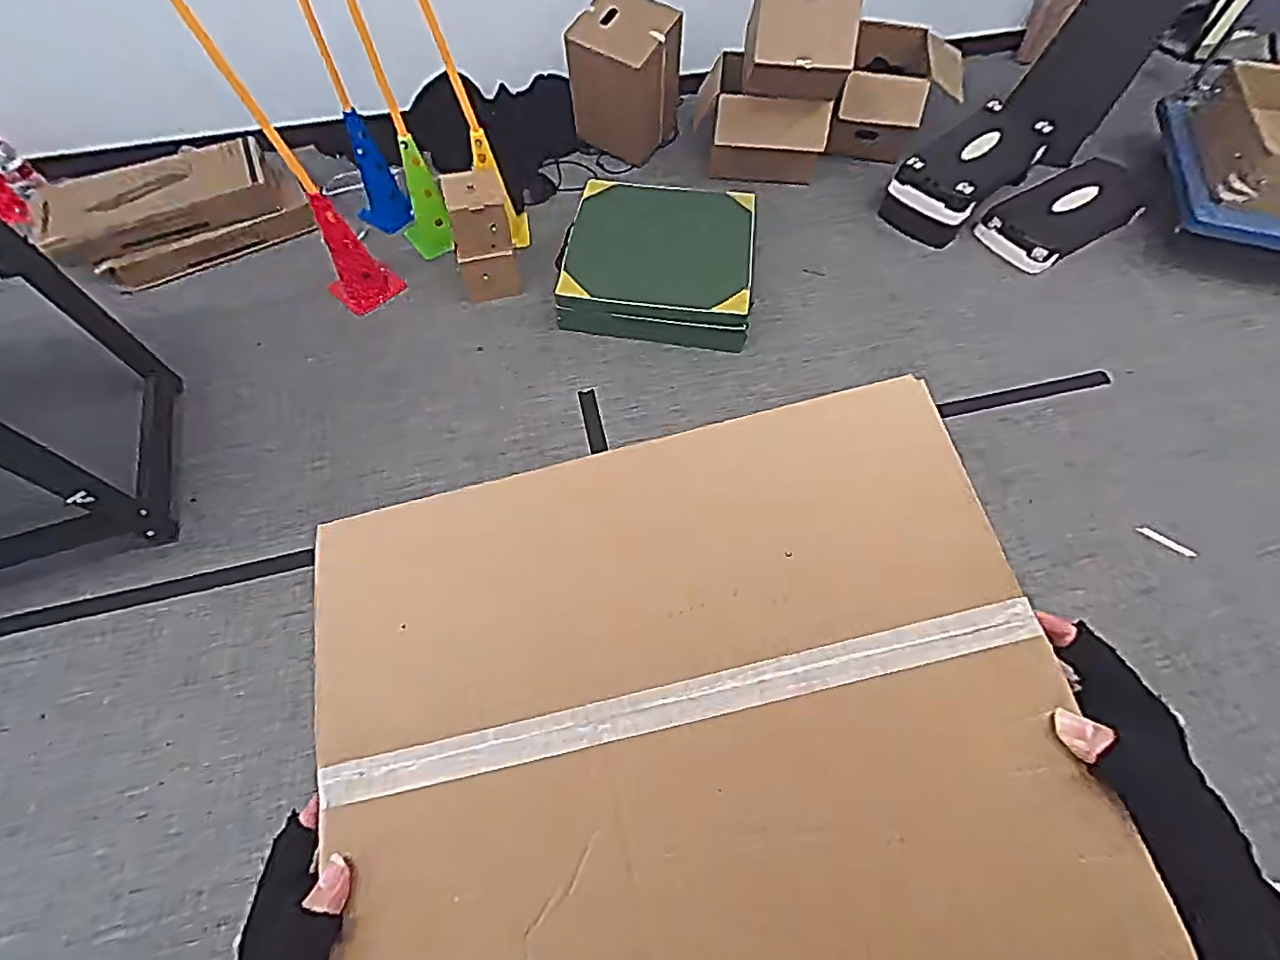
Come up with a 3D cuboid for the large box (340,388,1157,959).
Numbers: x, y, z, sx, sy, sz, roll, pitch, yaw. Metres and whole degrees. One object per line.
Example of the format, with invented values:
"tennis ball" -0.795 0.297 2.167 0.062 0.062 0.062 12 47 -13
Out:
"large box" 0.040 0.174 0.449 0.408 0.320 0.320 -14 69 2
